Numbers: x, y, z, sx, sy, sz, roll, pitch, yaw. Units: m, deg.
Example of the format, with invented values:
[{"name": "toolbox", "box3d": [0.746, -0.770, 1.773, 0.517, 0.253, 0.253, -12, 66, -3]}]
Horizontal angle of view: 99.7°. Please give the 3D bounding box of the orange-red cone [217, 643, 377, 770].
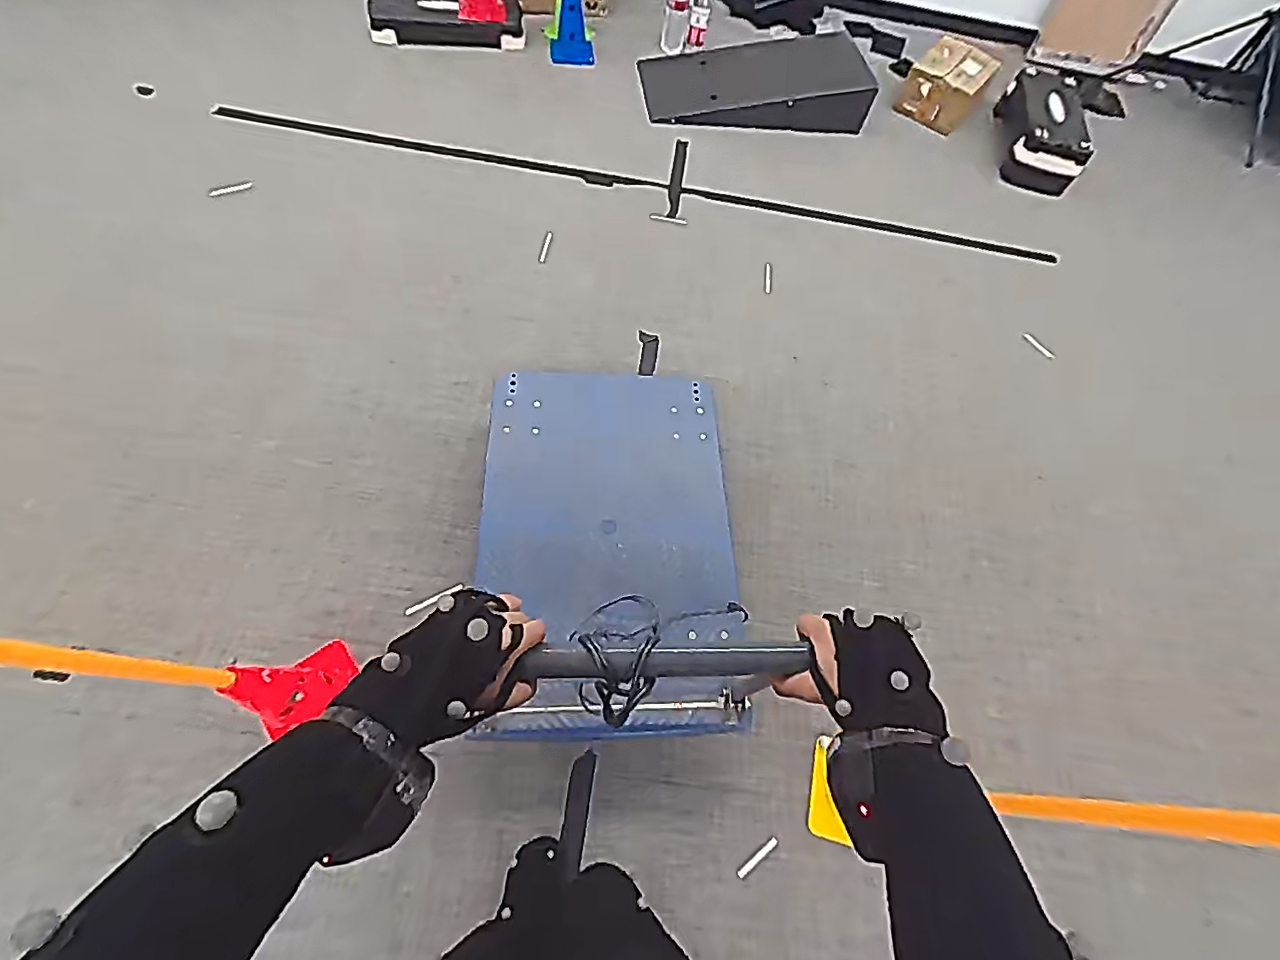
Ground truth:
[{"name": "orange-red cone", "box3d": [-0.663, 0.391, 0.996, 0.199, 0.360, 0.198, -32, 71, -23]}]
